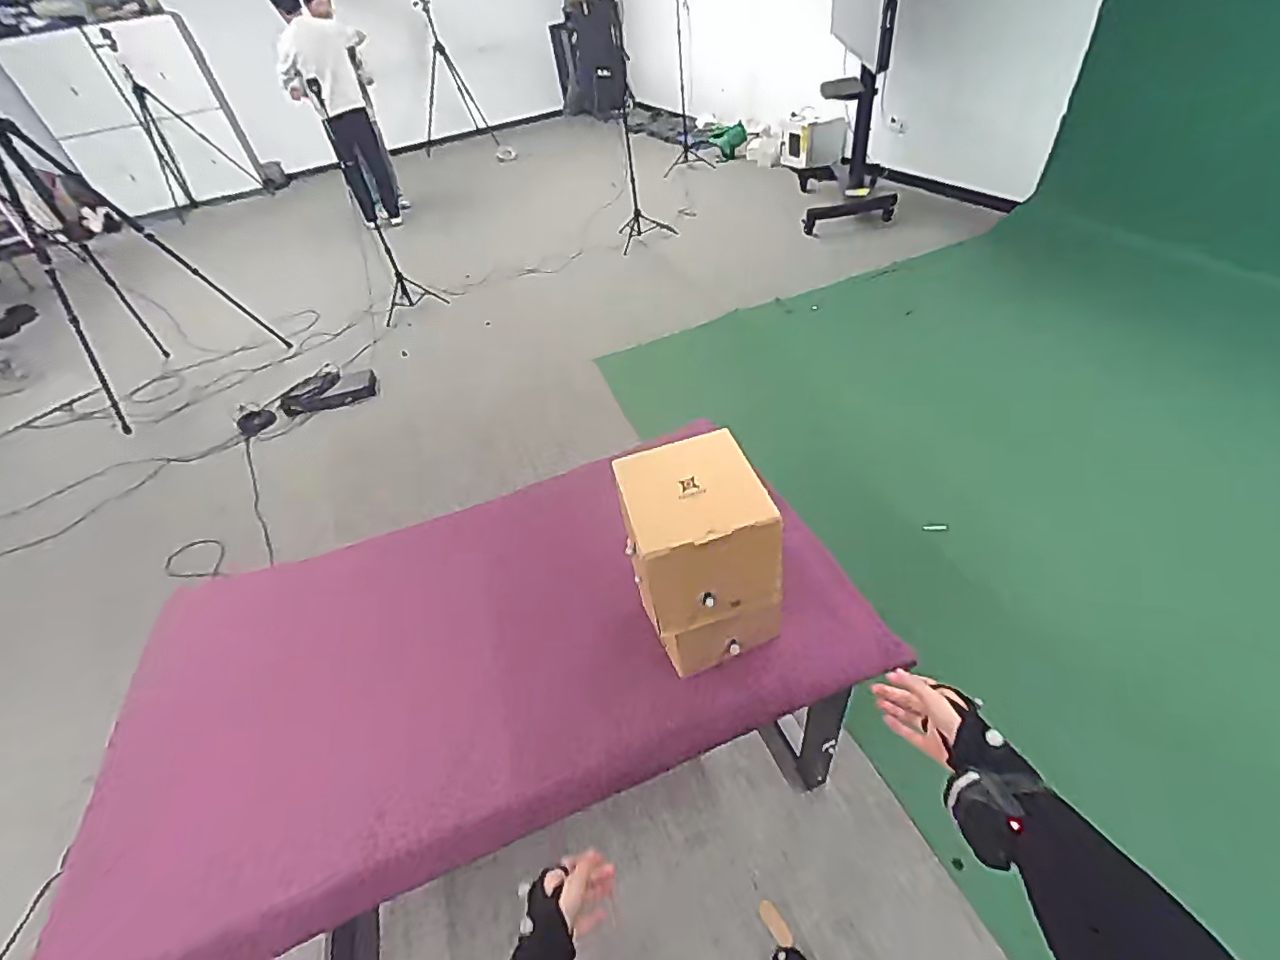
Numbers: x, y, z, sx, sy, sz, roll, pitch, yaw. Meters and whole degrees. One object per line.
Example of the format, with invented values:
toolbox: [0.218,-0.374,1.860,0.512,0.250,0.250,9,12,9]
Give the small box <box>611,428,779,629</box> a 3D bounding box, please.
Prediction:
small box: [0.069,0.064,0.712,0.168,0.176,0.179,-16,43,-4]

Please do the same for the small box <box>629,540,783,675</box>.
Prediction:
small box: [0.100,0.166,0.838,0.179,0.176,0.168,-21,41,-11]
